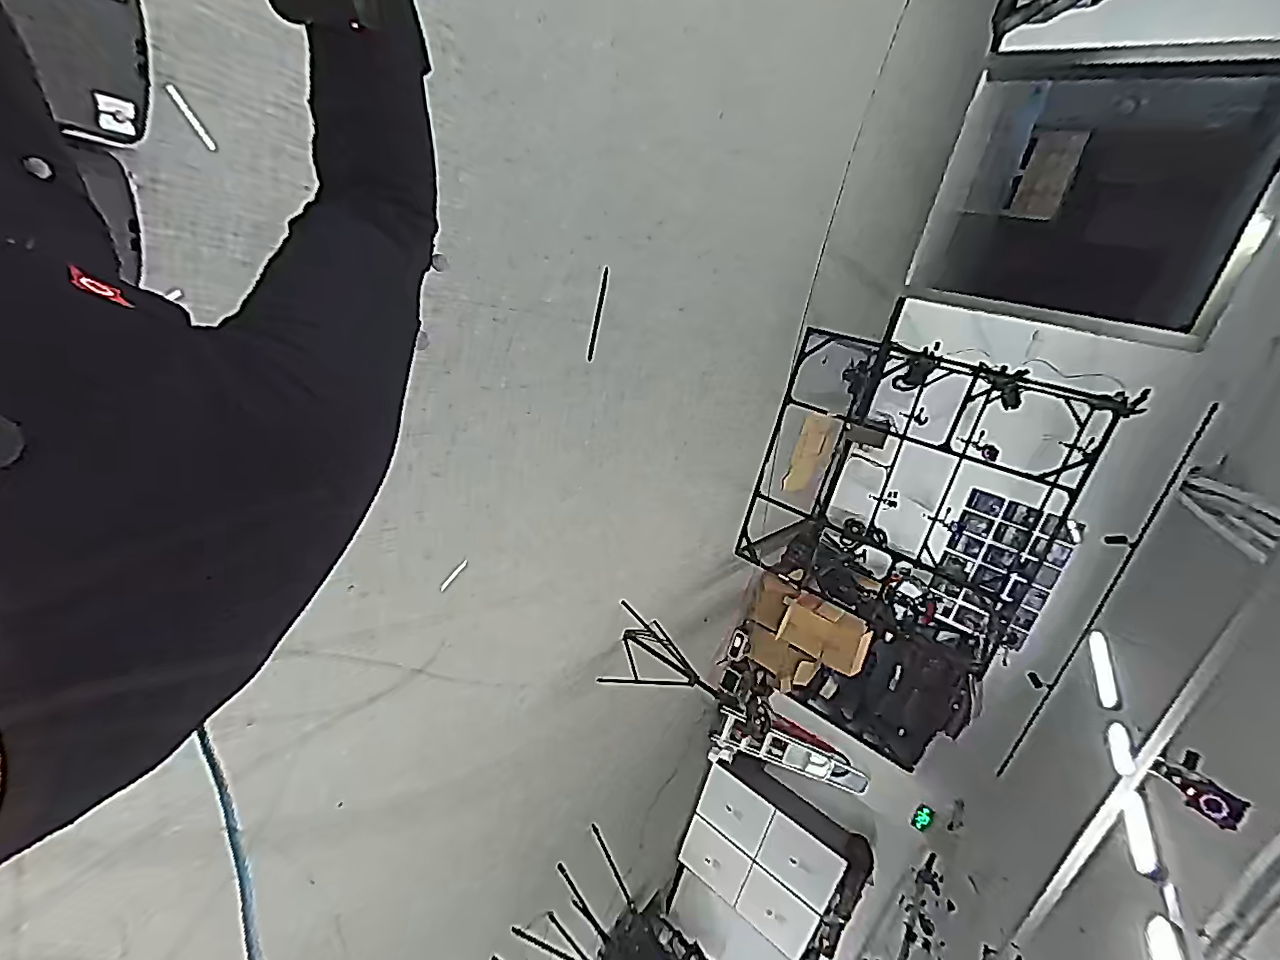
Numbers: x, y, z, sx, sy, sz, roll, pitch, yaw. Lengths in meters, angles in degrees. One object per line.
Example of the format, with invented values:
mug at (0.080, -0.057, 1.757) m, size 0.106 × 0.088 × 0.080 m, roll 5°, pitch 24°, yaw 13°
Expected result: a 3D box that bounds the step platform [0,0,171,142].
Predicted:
step platform at (-1.094, -0.725, 0.739) m, size 0.684 × 0.204 × 0.286 m, roll -16°, pitch 124°, yaw -53°
